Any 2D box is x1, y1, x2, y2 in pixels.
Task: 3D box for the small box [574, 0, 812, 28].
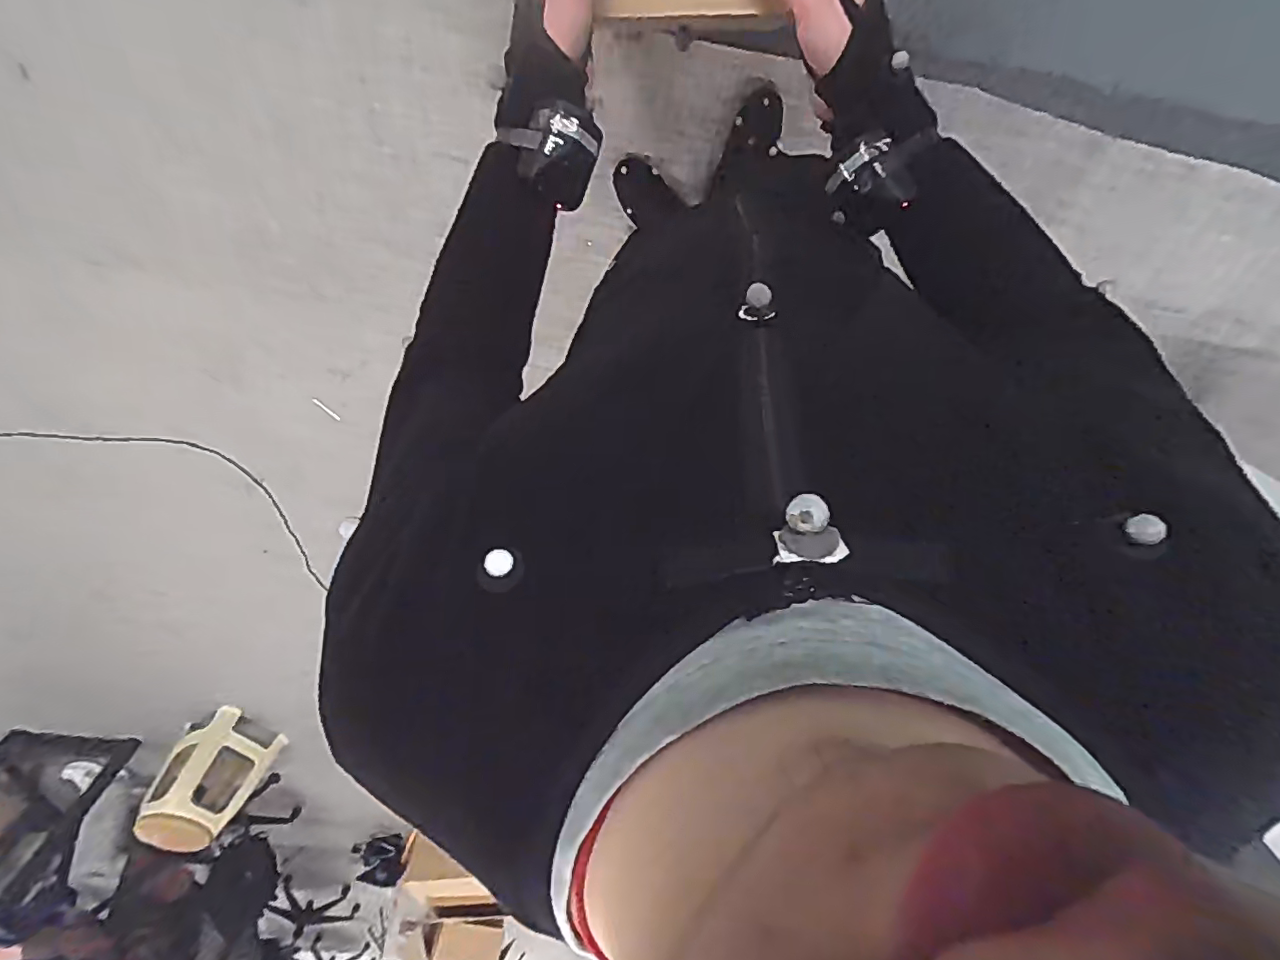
[{"bbox_3d":[0.037,-0.454,0.407,0.179,0.176,0.168,-1,127,0],"label":"small box"}]
